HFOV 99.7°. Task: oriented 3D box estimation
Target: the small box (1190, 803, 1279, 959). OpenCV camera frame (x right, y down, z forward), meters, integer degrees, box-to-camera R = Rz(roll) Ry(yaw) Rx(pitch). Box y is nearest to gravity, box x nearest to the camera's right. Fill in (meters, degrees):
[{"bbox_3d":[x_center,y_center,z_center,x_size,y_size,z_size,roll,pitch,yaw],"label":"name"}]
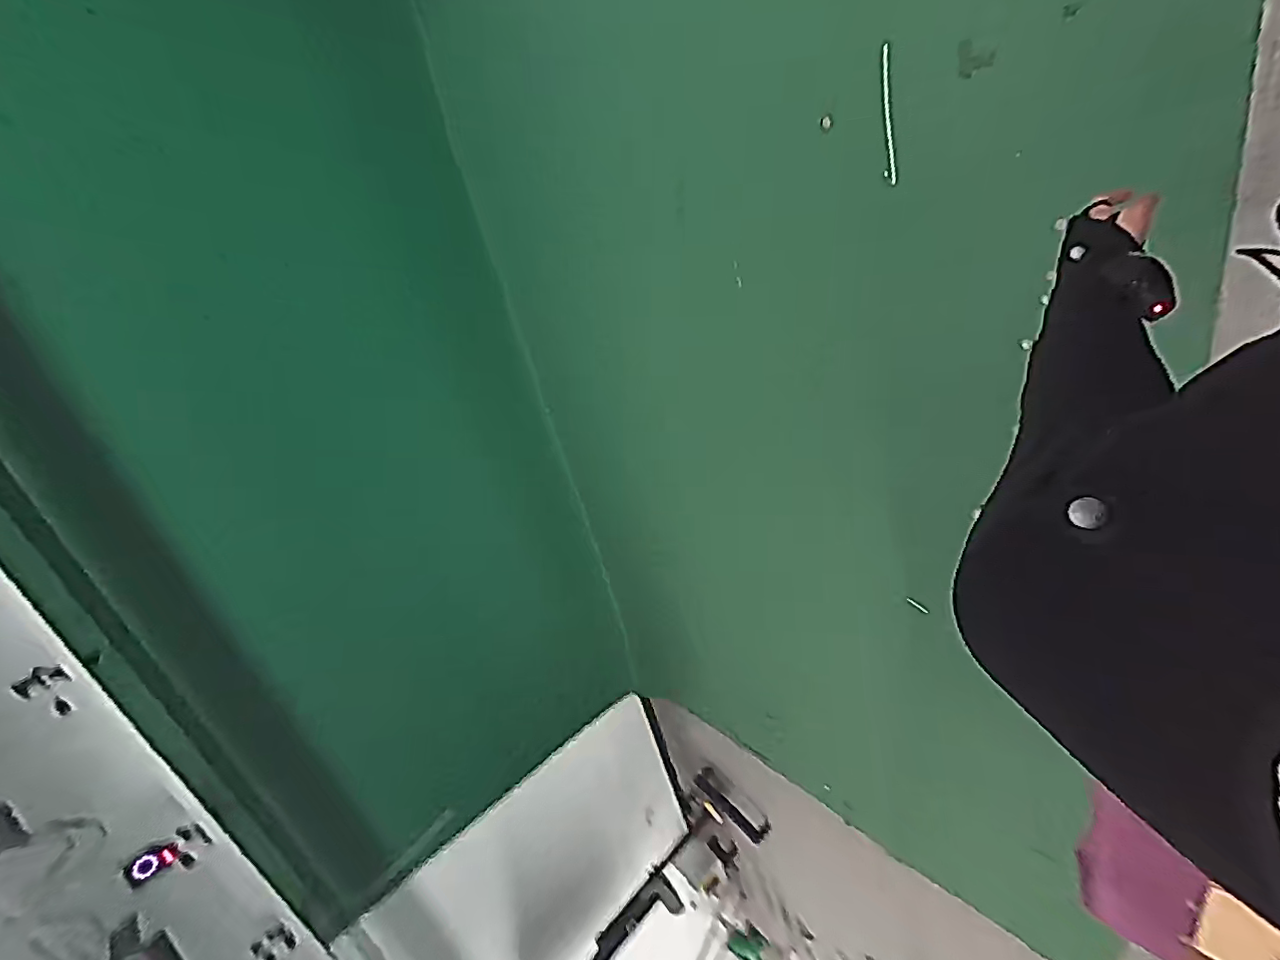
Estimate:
[{"bbox_3d":[0.925,0.617,0.768,0.168,0.176,0.179,13,127,49],"label":"small box"}]
